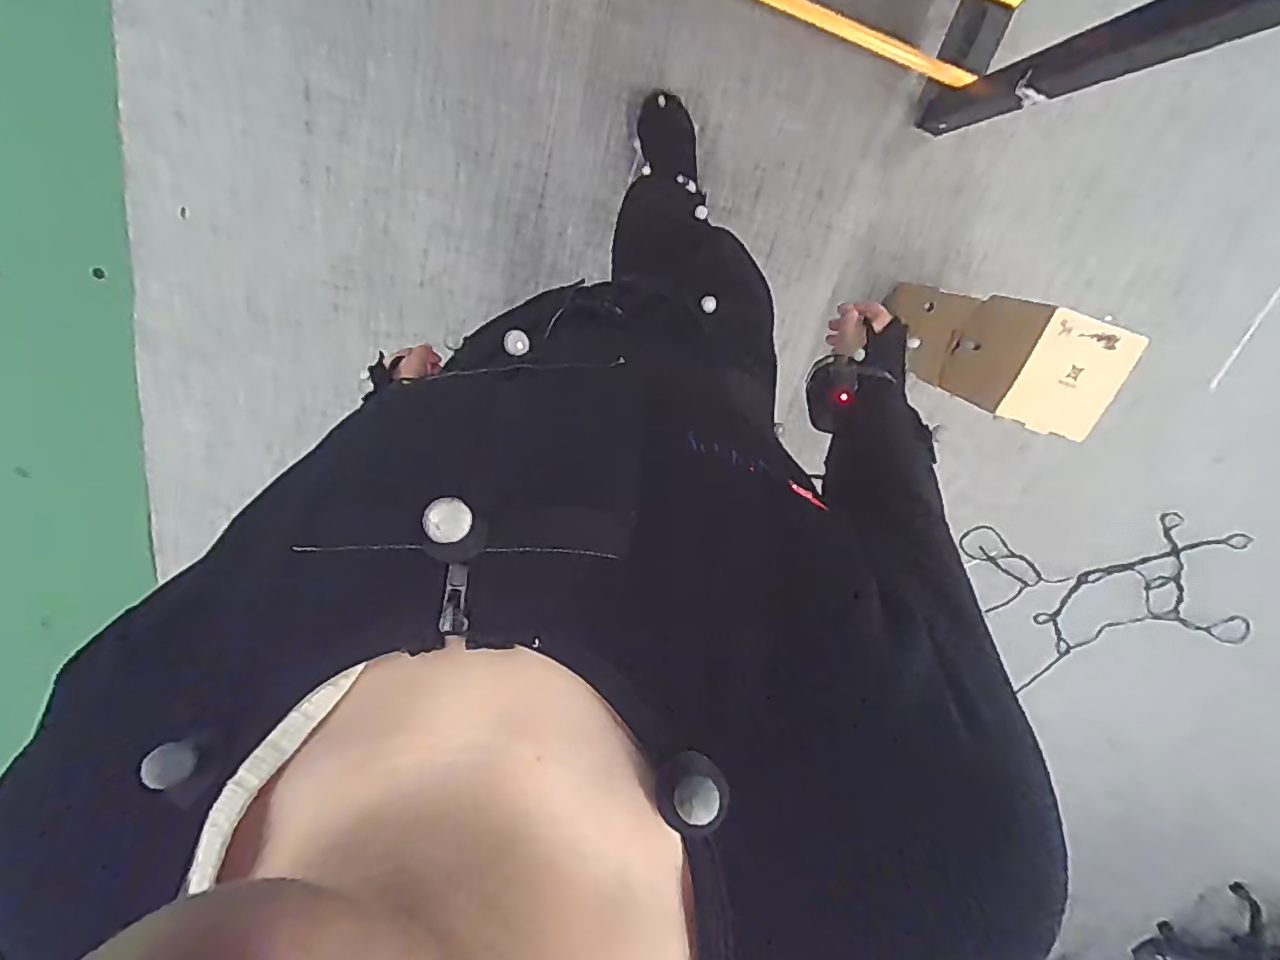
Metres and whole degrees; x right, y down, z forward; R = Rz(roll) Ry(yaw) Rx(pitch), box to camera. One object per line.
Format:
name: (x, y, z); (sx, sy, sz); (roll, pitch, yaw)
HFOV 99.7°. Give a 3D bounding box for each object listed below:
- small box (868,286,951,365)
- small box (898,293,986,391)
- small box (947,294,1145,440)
small box: (0.650, -0.324, 1.203); (0.179, 0.176, 0.168); (16, 112, -9)
small box: (0.643, -0.257, 1.053); (0.179, 0.176, 0.168); (14, 113, -9)
small box: (0.653, -0.194, 0.902); (0.168, 0.176, 0.179); (15, 113, -9)
